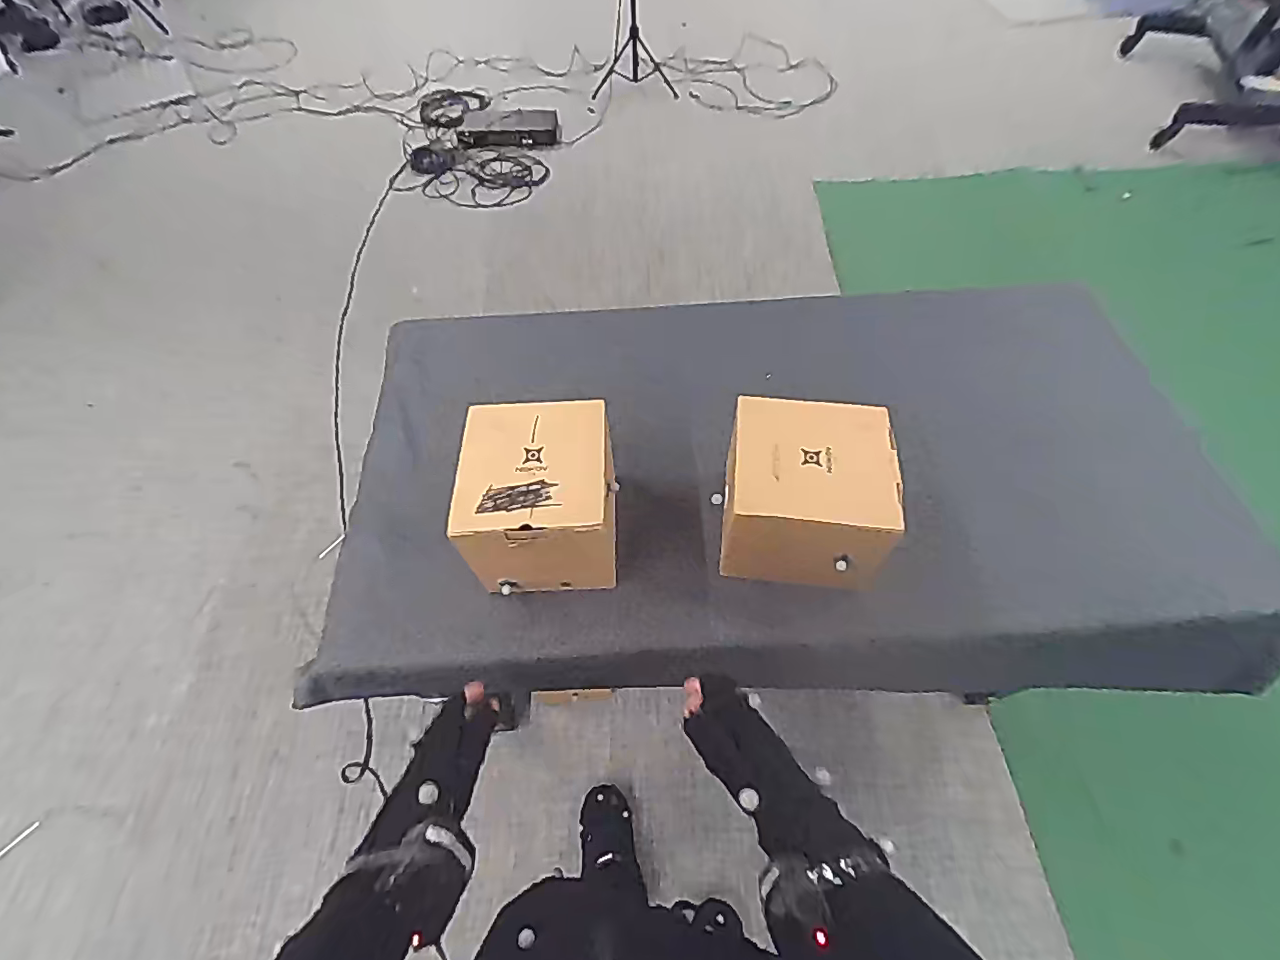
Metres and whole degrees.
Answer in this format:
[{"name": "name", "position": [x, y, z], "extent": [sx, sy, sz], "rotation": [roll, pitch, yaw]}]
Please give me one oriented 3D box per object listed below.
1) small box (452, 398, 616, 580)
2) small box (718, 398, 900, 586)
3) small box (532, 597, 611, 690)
[{"name": "small box", "position": [-0.116, 0.018, 0.677], "extent": [0.168, 0.176, 0.179], "rotation": [-1, 57, 1]}, {"name": "small box", "position": [0.196, 0.021, 0.671], "extent": [0.179, 0.176, 0.168], "rotation": [5, 58, 6]}, {"name": "small box", "position": [-0.163, 0.400, 1.304], "extent": [0.168, 0.176, 0.179], "rotation": [-7, 60, -3]}]
